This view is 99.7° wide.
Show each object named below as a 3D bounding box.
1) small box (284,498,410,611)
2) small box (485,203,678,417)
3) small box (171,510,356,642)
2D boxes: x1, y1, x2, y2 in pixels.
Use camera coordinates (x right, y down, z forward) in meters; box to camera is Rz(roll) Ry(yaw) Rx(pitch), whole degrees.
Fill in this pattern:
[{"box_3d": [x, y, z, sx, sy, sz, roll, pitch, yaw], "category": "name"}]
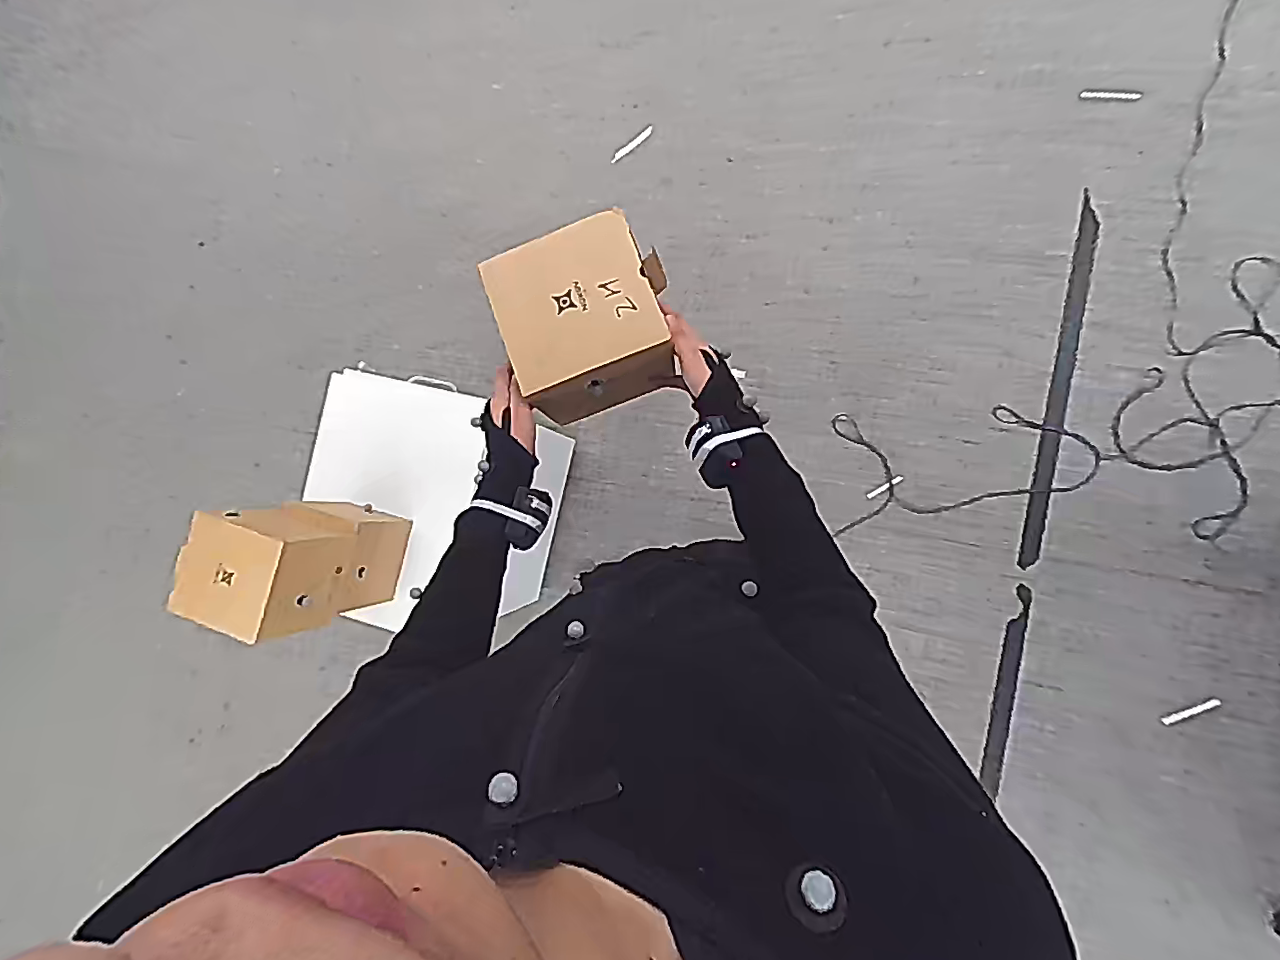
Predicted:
[{"box_3d": [-0.587, 0.141, 1.072, 0.168, 0.176, 0.179, 14, 89, 11], "category": "small box"}, {"box_3d": [-0.060, -0.192, 0.666, 0.179, 0.176, 0.168, -20, 83, 3], "category": "small box"}, {"box_3d": [-0.621, 0.149, 0.912, 0.179, 0.176, 0.168, 16, 90, 12], "category": "small box"}]
